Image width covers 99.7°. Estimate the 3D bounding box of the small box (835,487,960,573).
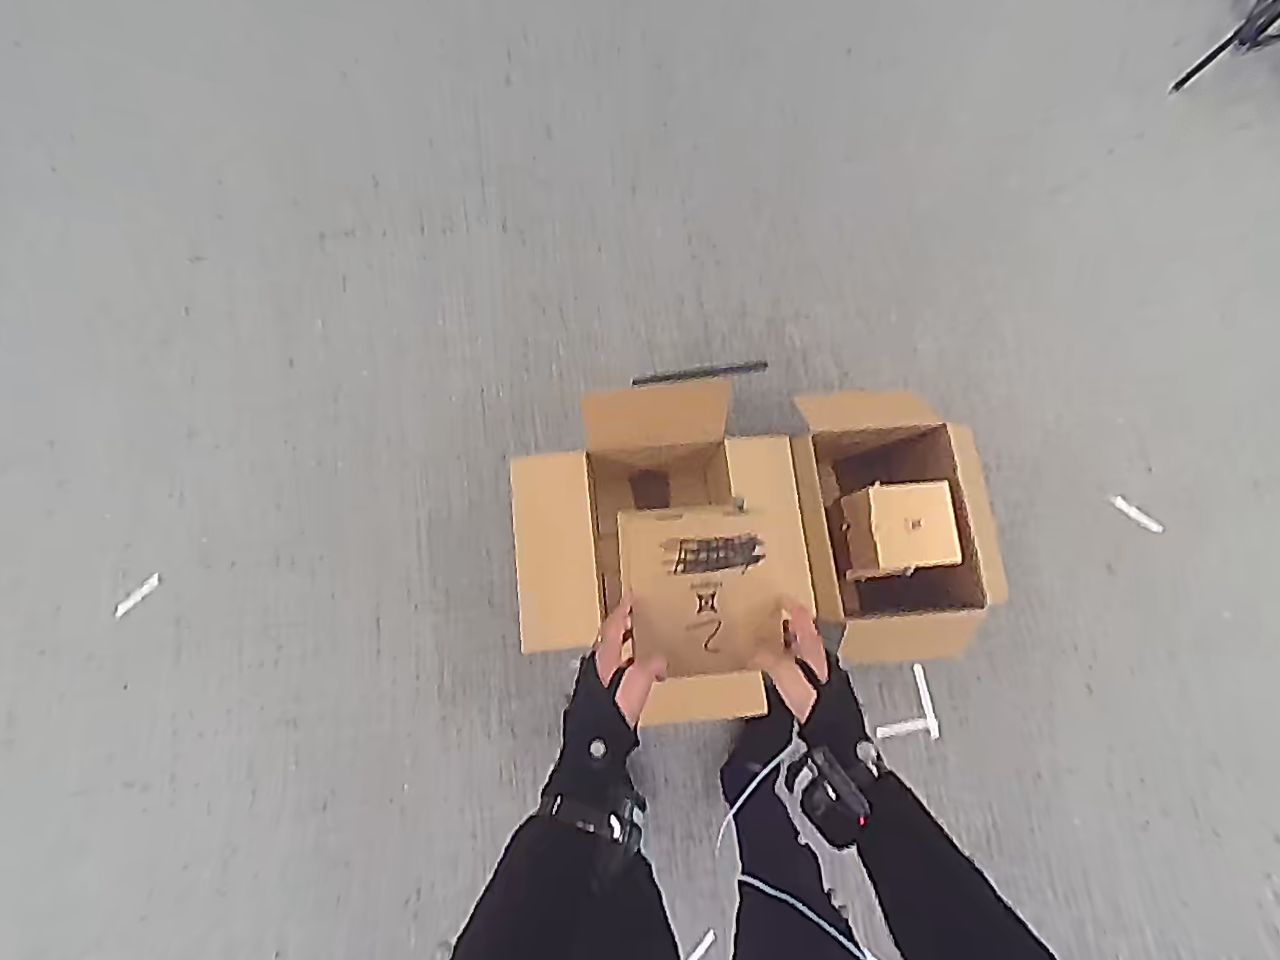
[{"bbox_3d":[0.547,0.111,1.170,0.179,0.176,0.168,-5,80,-3],"label":"small box"}]
